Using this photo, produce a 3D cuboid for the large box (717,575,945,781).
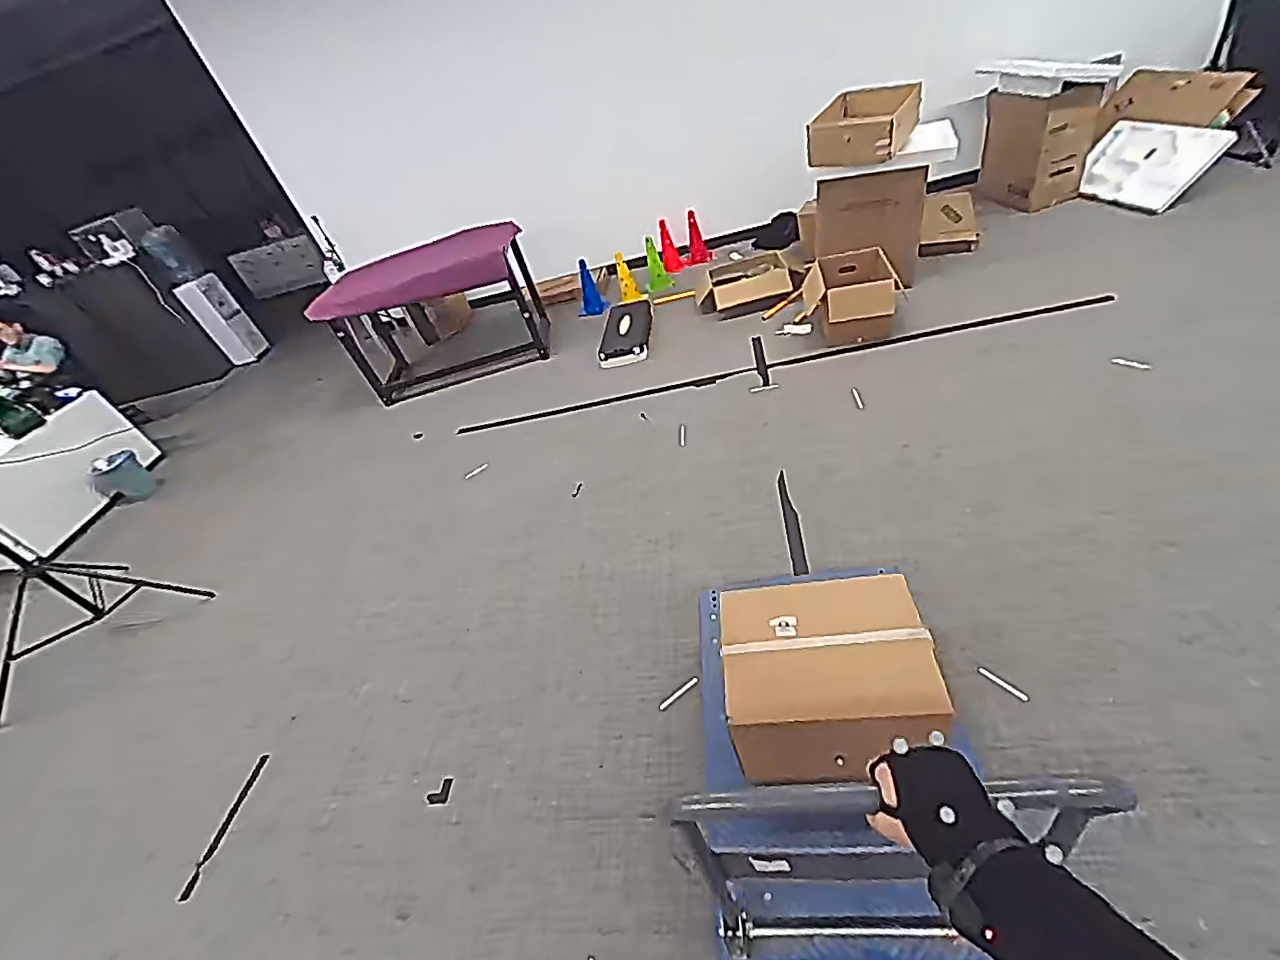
[{"bbox_3d":[0.409,0.452,1.217,0.408,0.320,0.320,-10,39,13],"label":"large box"}]
